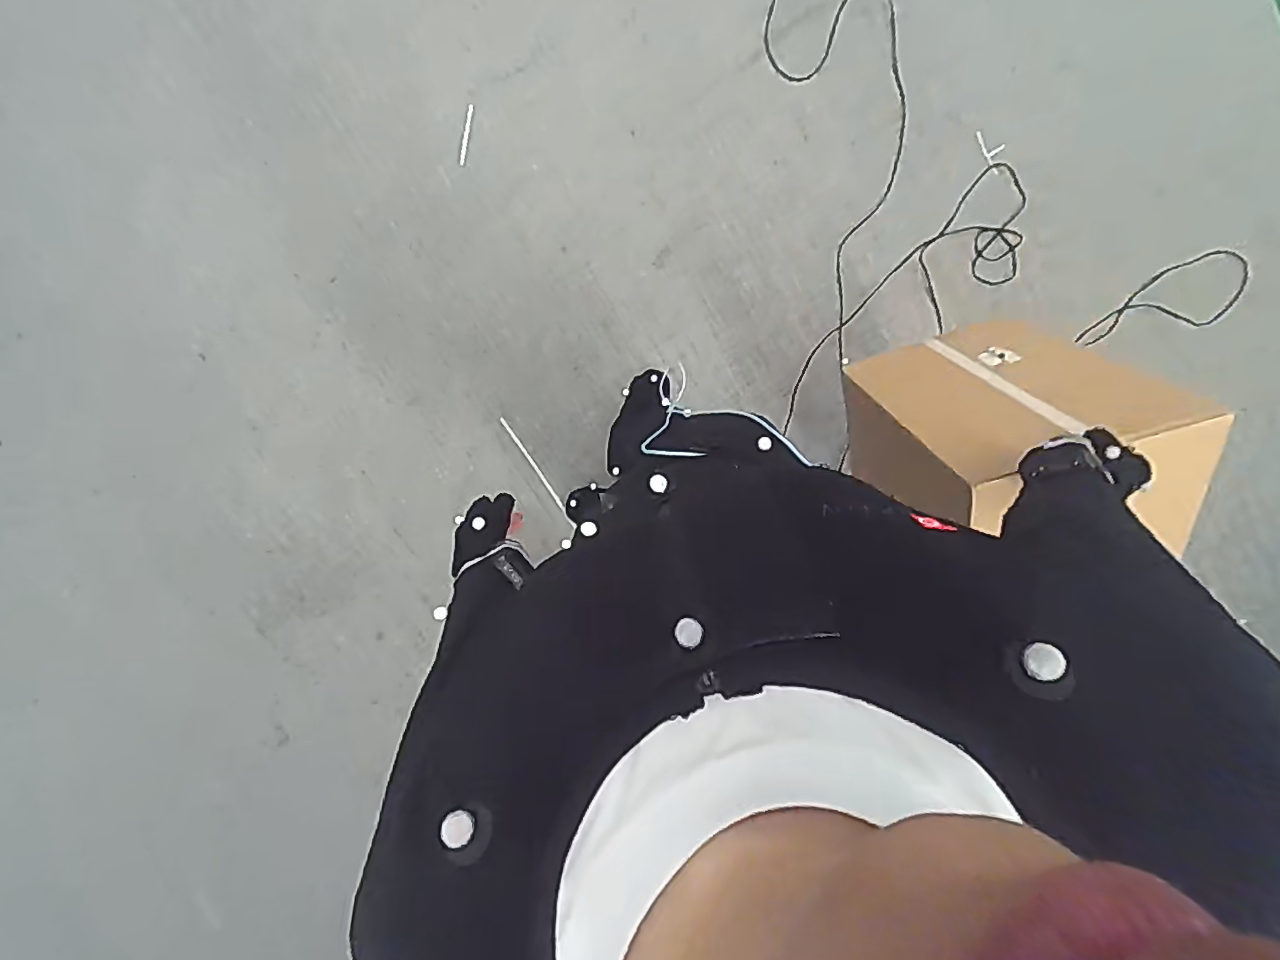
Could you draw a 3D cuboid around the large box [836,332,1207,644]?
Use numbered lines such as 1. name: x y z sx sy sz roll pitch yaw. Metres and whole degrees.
1. large box: 0.573 -0.006 0.912 0.320 0.408 0.320 -15 122 4
